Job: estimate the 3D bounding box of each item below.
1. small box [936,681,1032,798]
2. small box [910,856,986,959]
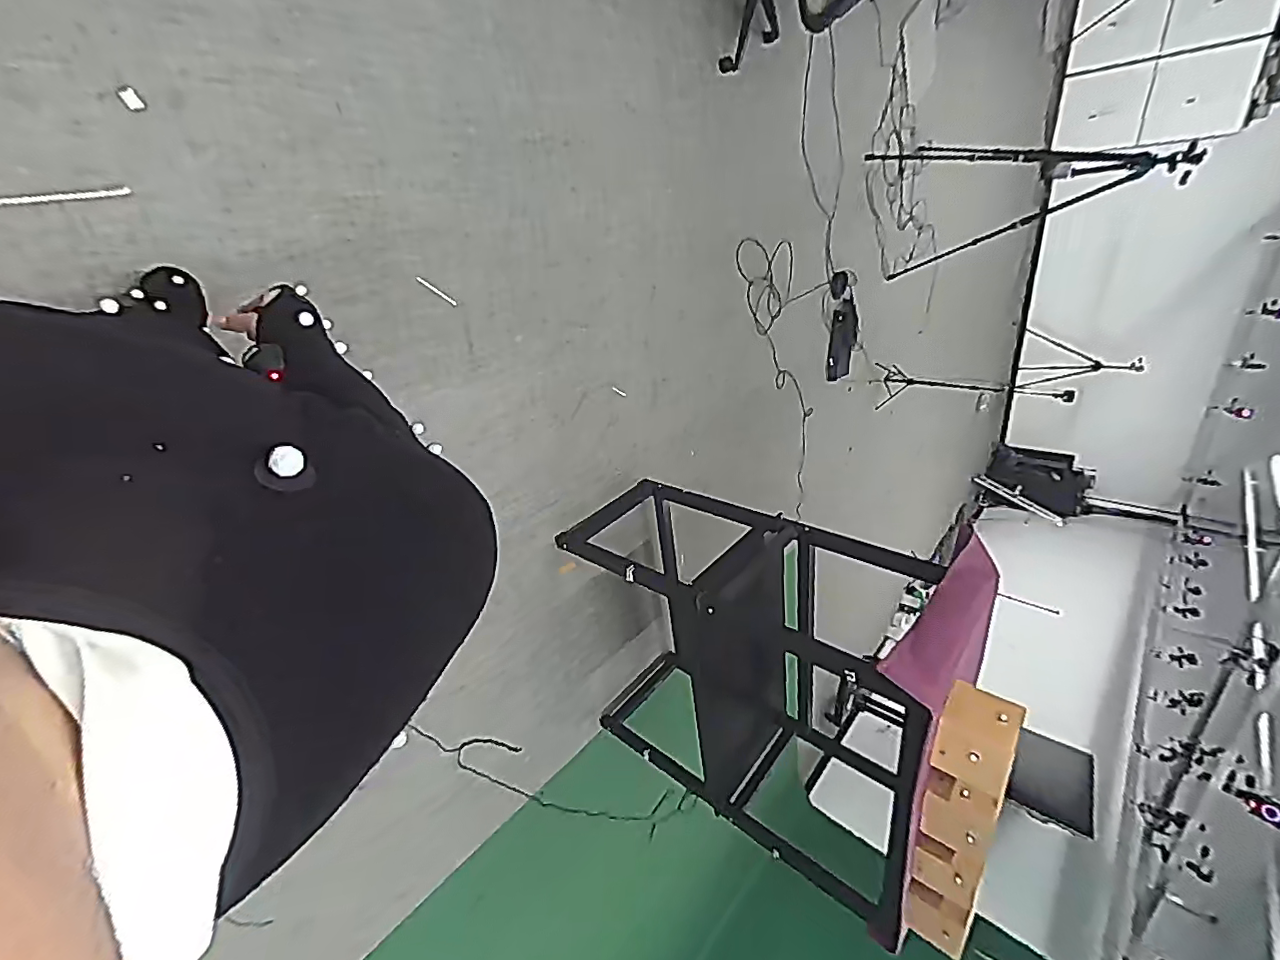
[{"bbox_3d":[0.883,0.660,1.396,0.179,0.176,0.168,-29,123,-42],"label":"small box"},{"bbox_3d":[0.993,1.369,1.750,0.168,0.176,0.179,-27,121,-39],"label":"small box"}]
